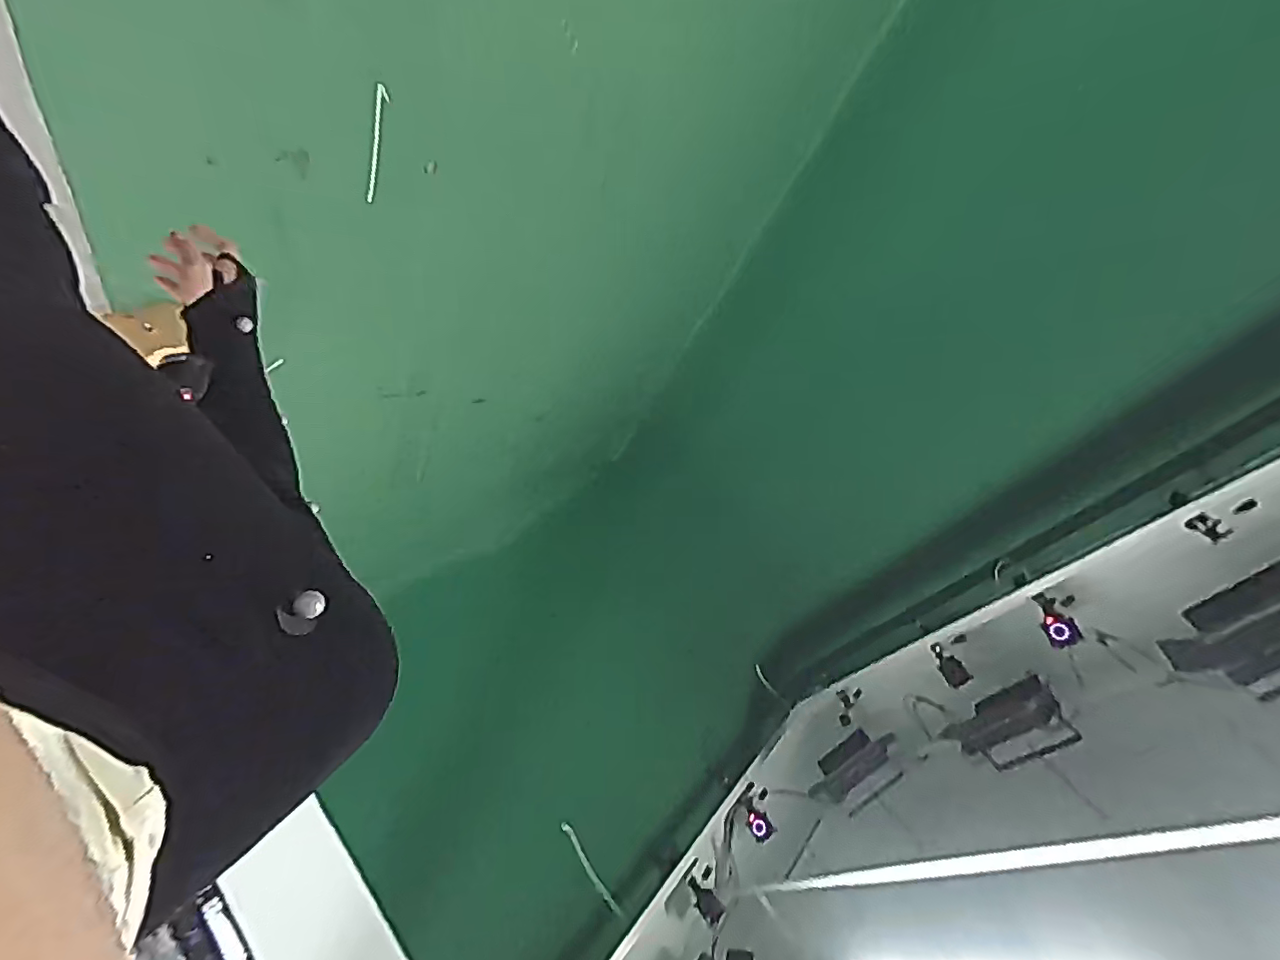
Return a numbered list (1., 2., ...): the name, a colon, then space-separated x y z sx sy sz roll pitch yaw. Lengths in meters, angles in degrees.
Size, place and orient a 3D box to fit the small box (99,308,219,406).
1. small box: -1.286 -0.338 1.450 0.168 0.176 0.179 -32 163 -33
